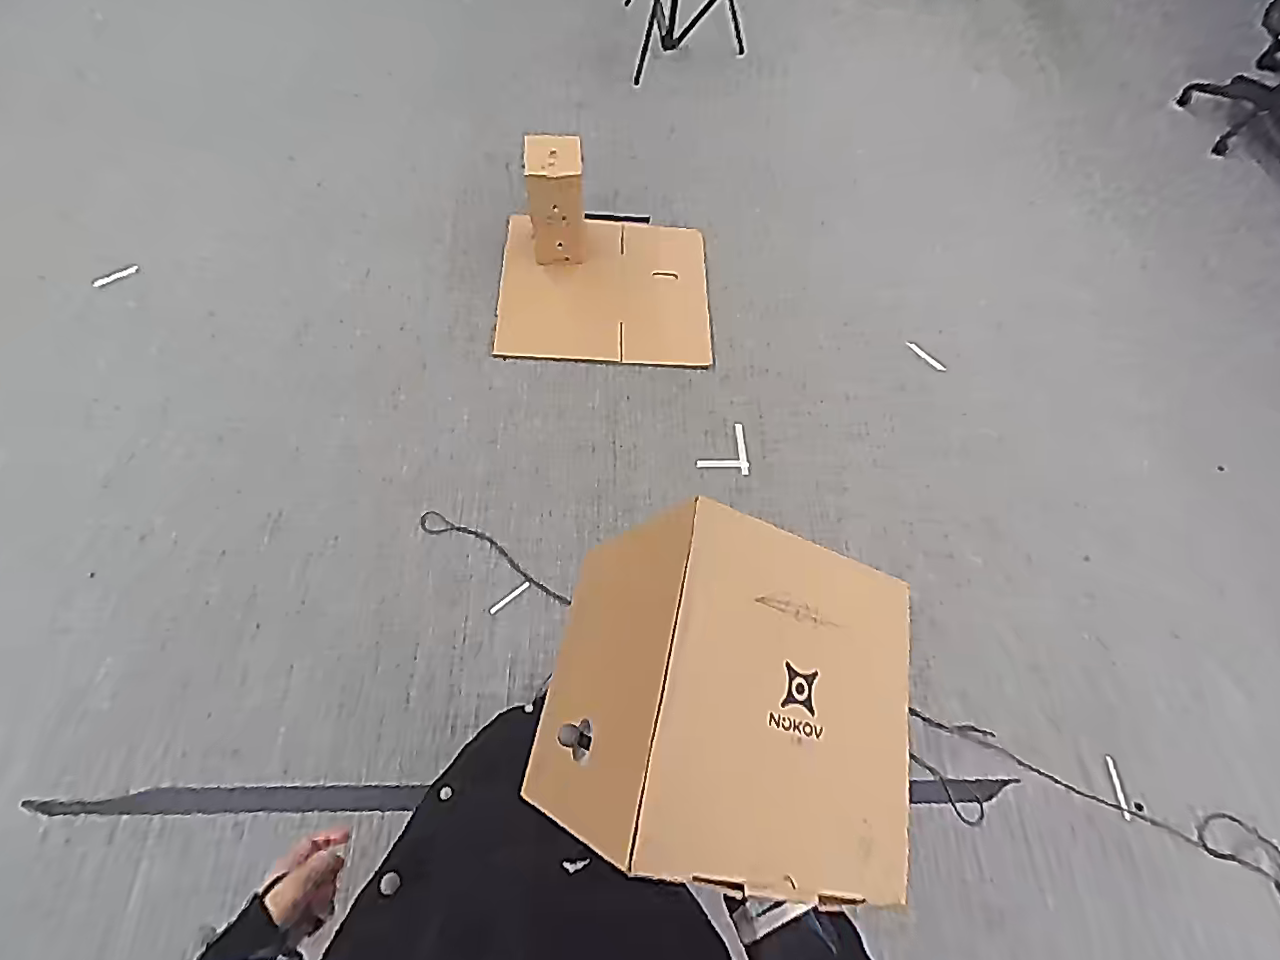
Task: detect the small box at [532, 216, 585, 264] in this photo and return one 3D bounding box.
[{"bbox_3d":[-0.272,-0.842,1.805,0.168,0.176,0.179,-5,67,-9],"label":"small box"}]

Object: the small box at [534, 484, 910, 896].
[{"bbox_3d":[0.045,0.131,0.350,0.168,0.176,0.179,22,62,-21],"label":"small box"}]

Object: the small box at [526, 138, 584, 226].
[{"bbox_3d":[-0.260,-0.911,1.656,0.168,0.176,0.179,-4,66,-7],"label":"small box"}]
